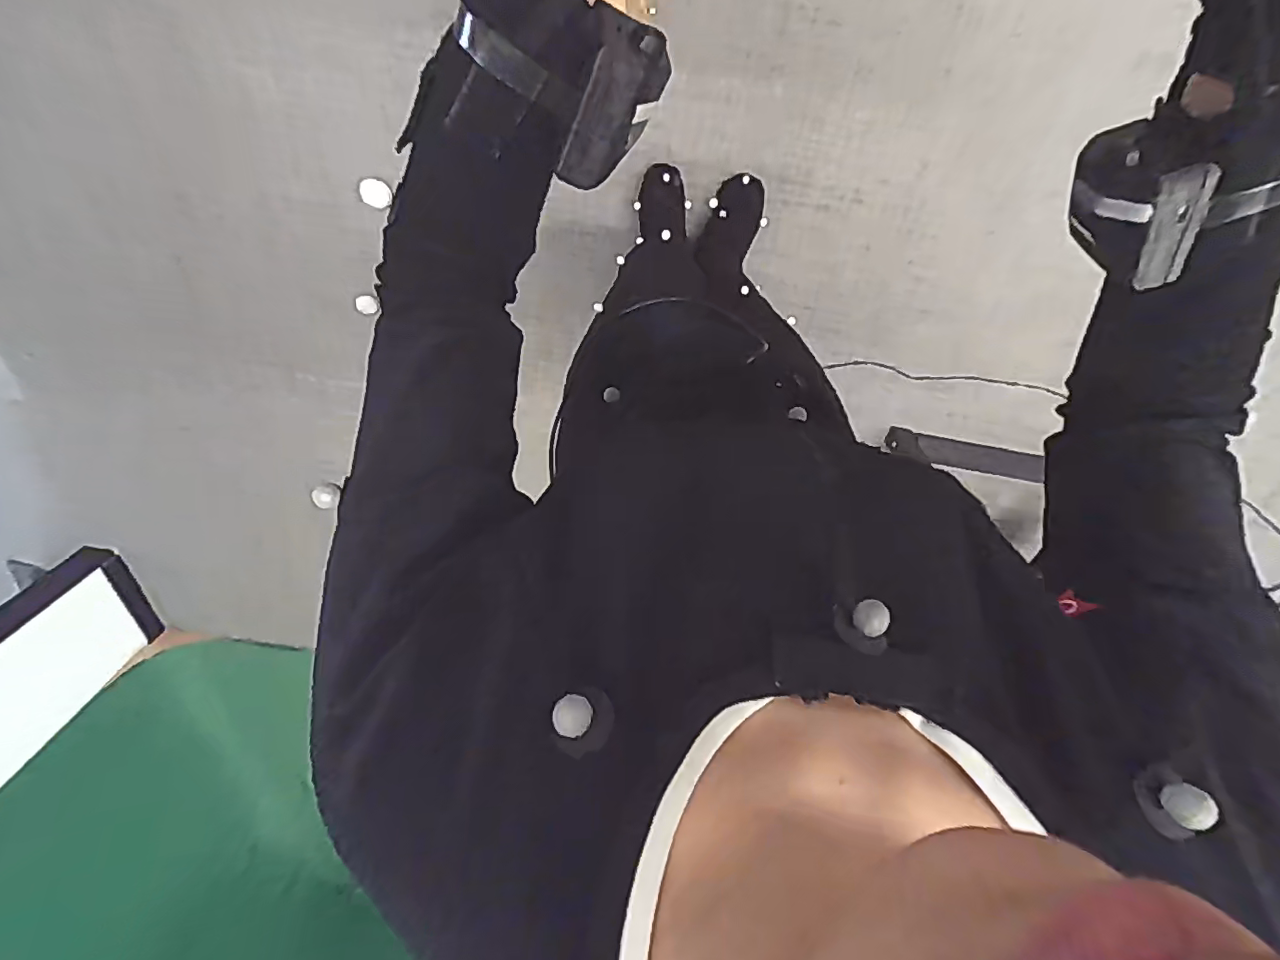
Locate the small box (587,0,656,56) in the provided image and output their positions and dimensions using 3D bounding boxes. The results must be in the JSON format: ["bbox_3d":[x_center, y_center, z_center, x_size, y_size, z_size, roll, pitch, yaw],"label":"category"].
[{"bbox_3d":[-0.065,-0.876,0.964,0.179,0.176,0.168,9,125,0],"label":"small box"}]

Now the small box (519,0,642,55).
[{"bbox_3d":[-0.083,-0.782,0.830,0.168,0.176,0.179,9,124,0],"label":"small box"}]
